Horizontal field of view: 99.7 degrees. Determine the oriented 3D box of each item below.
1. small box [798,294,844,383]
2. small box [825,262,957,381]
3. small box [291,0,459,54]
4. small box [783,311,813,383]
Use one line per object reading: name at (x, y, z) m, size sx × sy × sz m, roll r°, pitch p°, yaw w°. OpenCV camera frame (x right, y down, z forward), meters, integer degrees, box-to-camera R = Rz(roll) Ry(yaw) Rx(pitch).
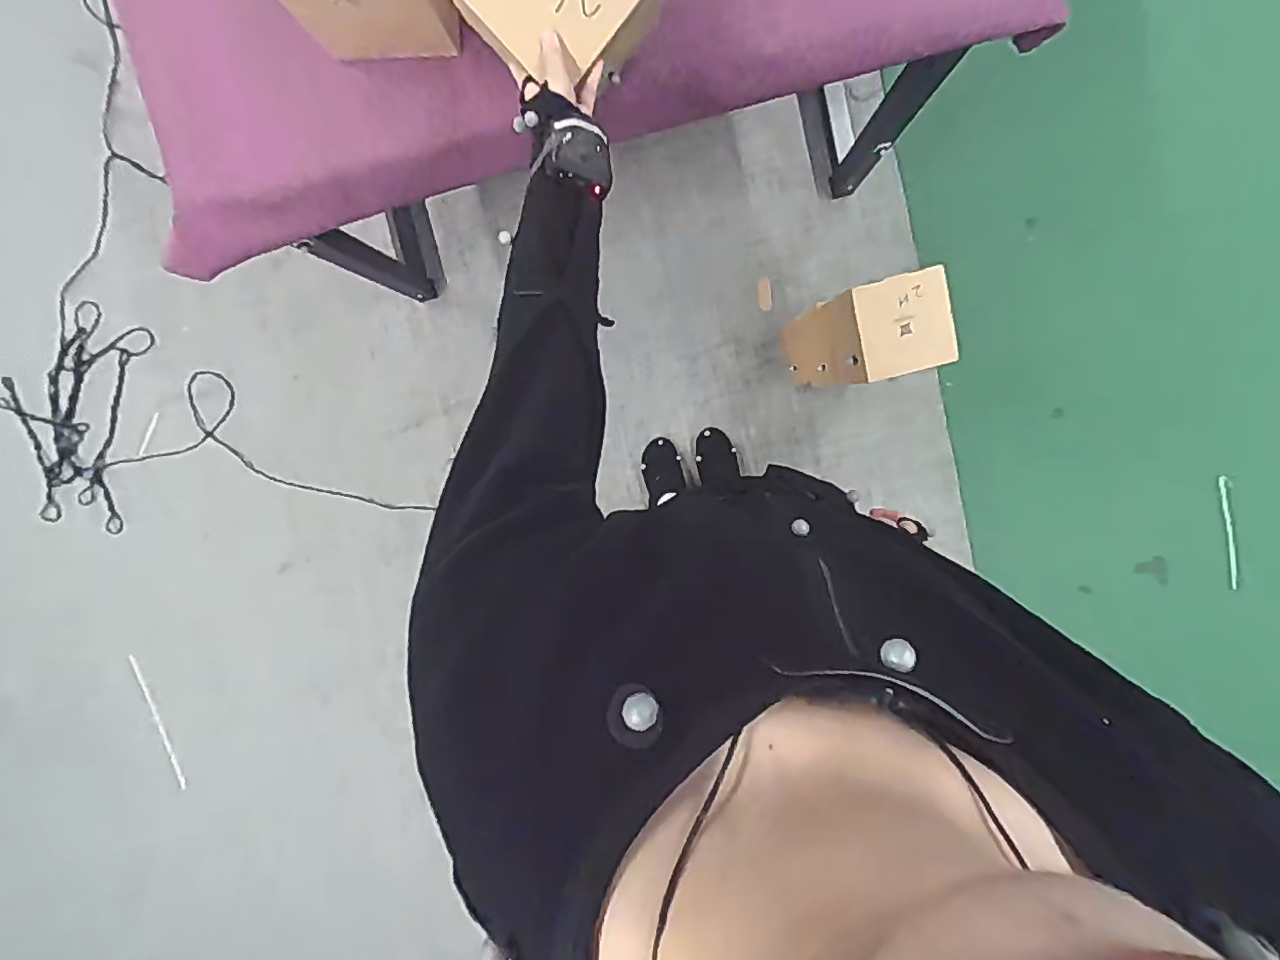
small box at (0.466, -0.322, 1.204) m, size 0.168 × 0.176 × 0.179 m, roll -15°, pitch 98°, yaw 5°
small box at (0.474, -0.293, 1.041) m, size 0.168 × 0.176 × 0.179 m, roll -14°, pitch 97°, yaw 5°
small box at (-0.332, -0.642, 0.637) m, size 0.179 × 0.176 × 0.168 m, roll 0°, pitch 97°, yaw 2°
small box at (0.468, -0.344, 1.364) m, size 0.179 × 0.176 × 0.168 m, roll -12°, pitch 97°, yaw 4°
